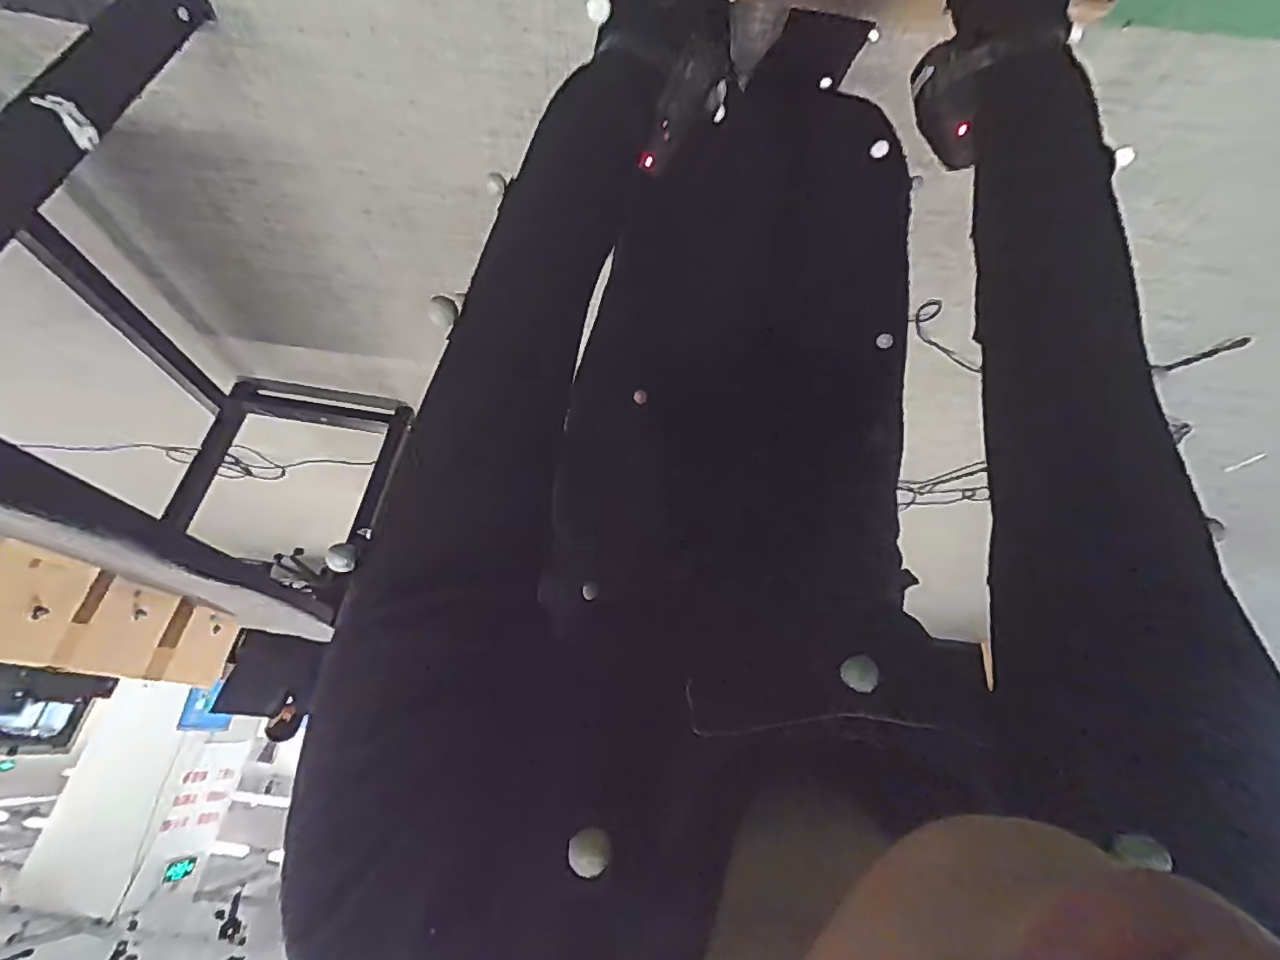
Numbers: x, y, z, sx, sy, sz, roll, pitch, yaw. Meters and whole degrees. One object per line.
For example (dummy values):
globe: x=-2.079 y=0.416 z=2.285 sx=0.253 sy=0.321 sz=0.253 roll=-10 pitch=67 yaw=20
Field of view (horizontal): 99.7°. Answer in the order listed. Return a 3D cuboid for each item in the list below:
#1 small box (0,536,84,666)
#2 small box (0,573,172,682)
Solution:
small box: x=-1.013 y=0.174 z=0.815 sx=0.179 sy=0.176 sz=0.168 roll=8 pitch=154 yaw=1
small box: x=-1.051 y=0.270 z=1.014 sx=0.179 sy=0.176 sz=0.168 roll=7 pitch=154 yaw=2
